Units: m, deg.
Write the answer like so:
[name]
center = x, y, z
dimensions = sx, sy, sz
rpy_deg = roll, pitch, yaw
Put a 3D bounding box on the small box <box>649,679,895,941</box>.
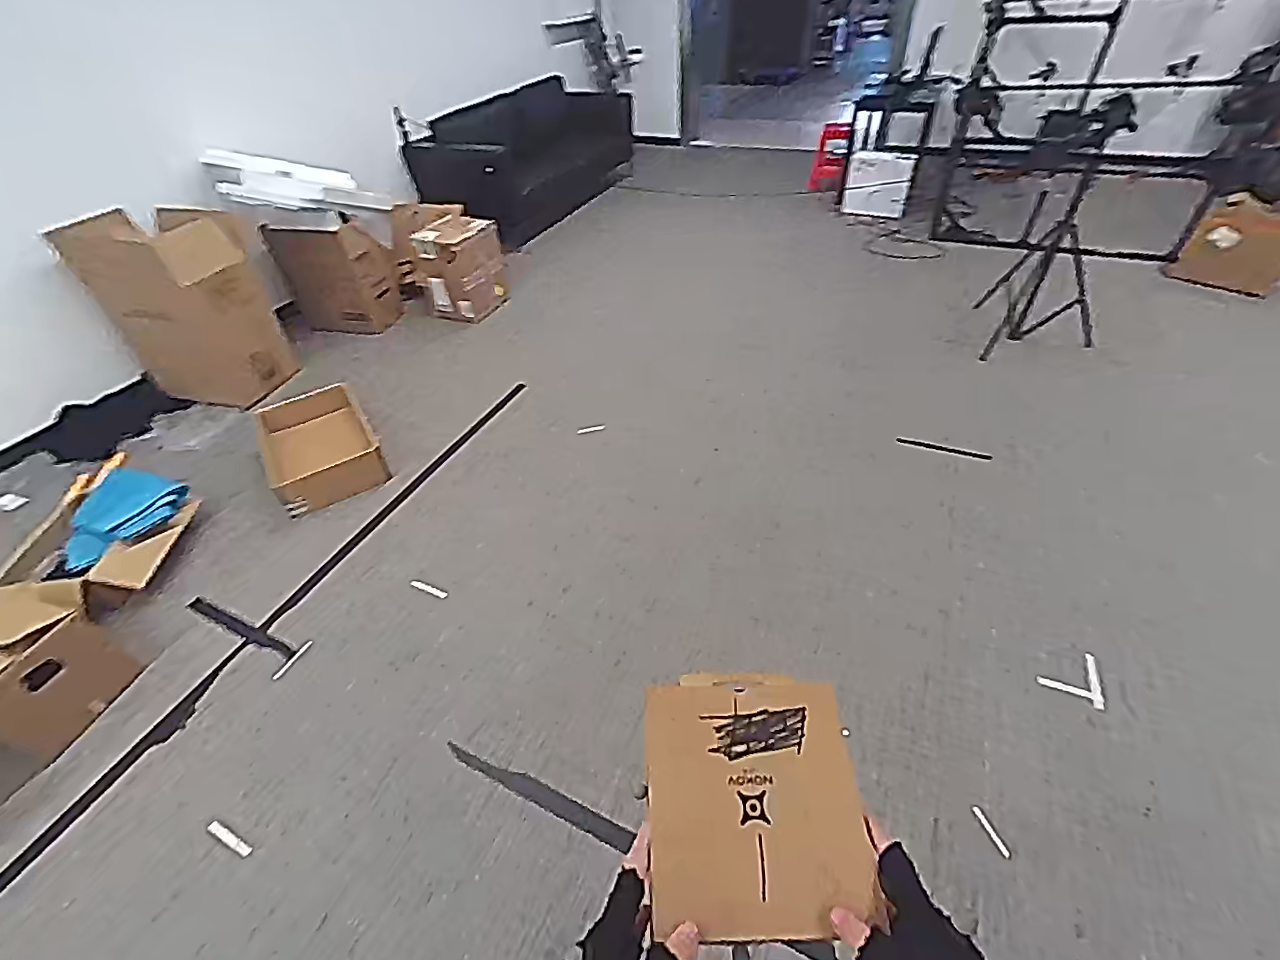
[small box]
center = 0.092, 0.295, 0.482
dimensions = 0.168, 0.176, 0.179
rpy_deg = 0, 50, 0
